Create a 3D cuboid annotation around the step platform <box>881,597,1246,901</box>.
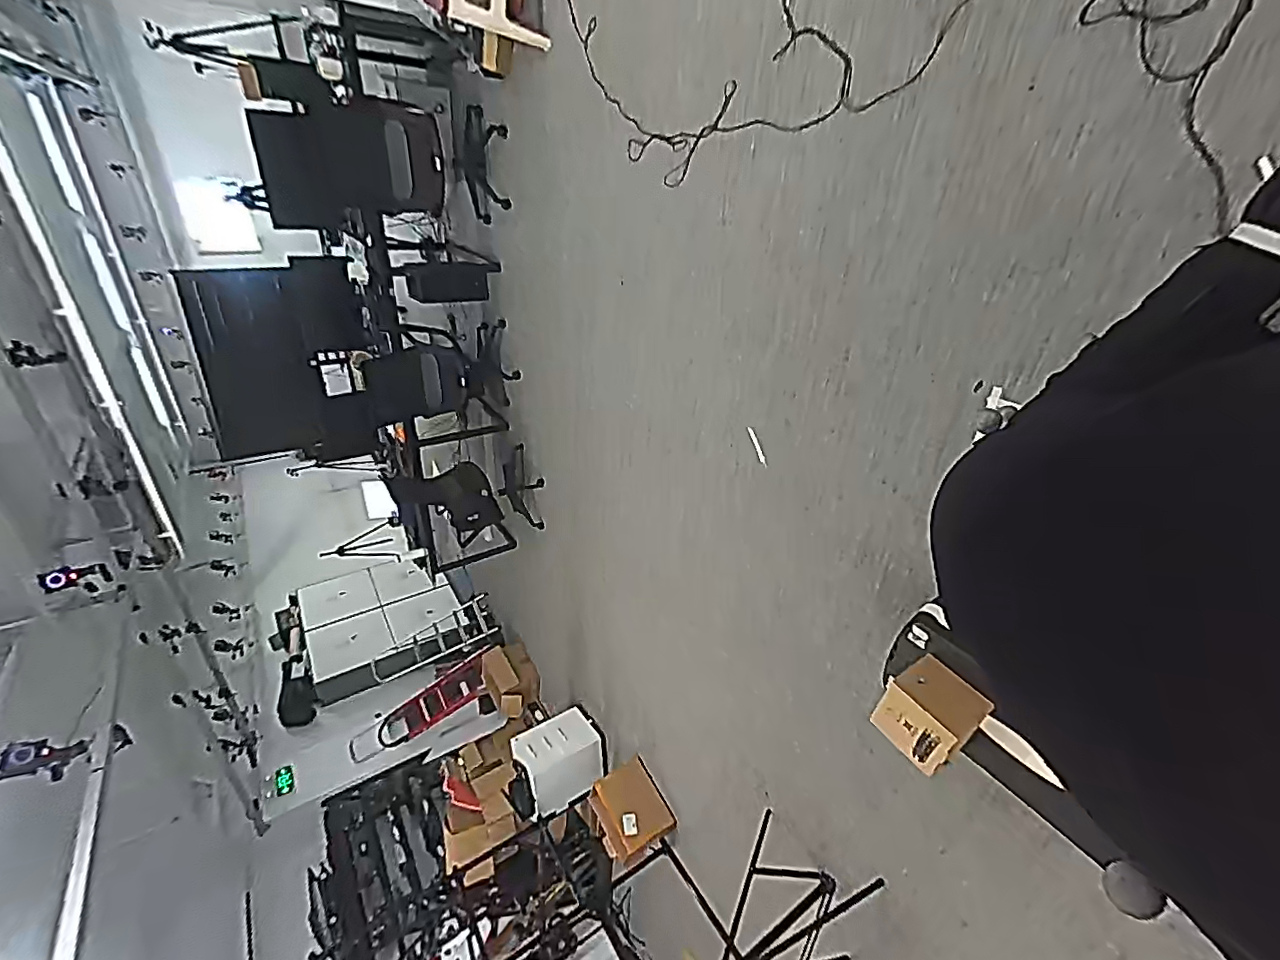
[{"bbox_3d":[0.944,0.607,1.315,0.684,0.204,0.286,38,135,43],"label":"step platform"}]
